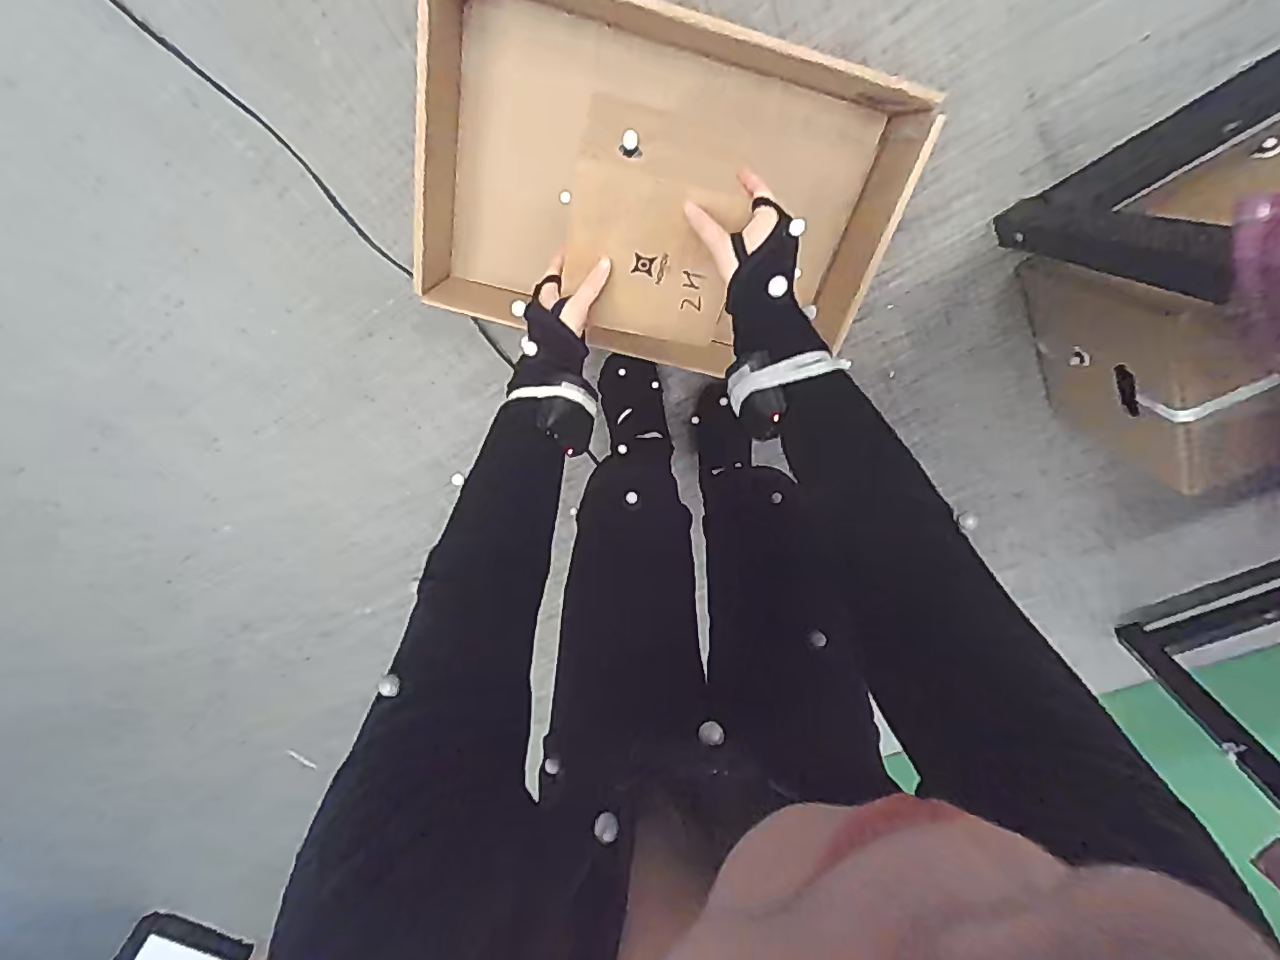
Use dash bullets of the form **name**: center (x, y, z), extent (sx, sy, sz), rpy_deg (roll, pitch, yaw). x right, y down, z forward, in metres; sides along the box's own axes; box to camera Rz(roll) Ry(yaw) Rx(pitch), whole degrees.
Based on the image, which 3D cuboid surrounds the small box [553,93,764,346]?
- **small box**: center (0.012, -0.276, 0.576), extent (0.179, 0.176, 0.168), rpy_deg (9, 145, -9)
